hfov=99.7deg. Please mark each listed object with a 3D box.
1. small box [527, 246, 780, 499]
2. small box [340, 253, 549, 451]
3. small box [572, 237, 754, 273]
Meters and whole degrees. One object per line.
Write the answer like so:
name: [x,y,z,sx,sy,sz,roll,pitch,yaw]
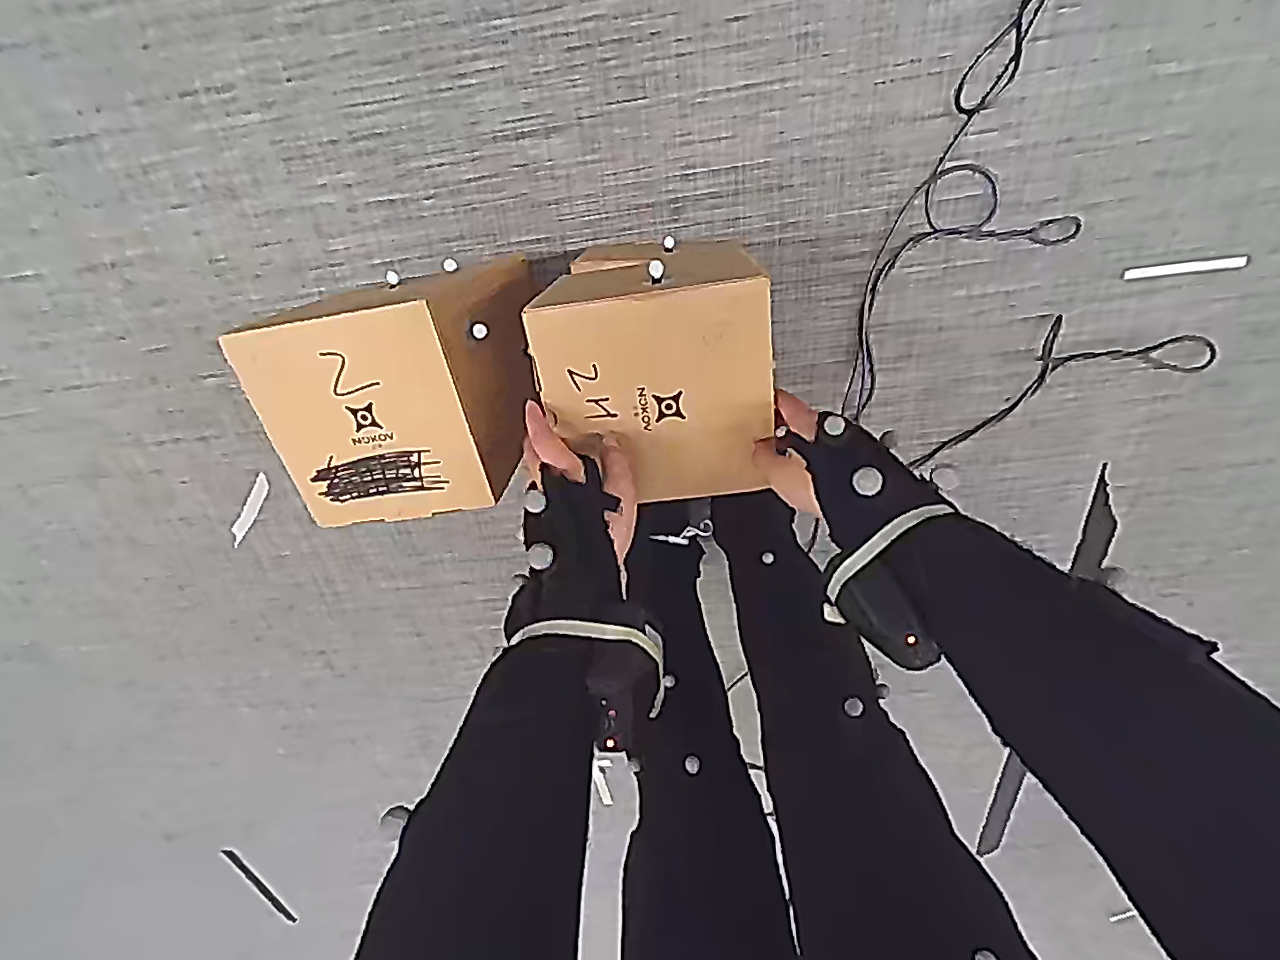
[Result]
small box: [0.019,-0.101,0.475,0.179,0.176,0.168,-6,118,6]
small box: [-0.205,-0.160,0.643,0.168,0.176,0.179,-12,118,8]
small box: [0.026,-0.181,0.619,0.179,0.176,0.168,-1,119,2]
